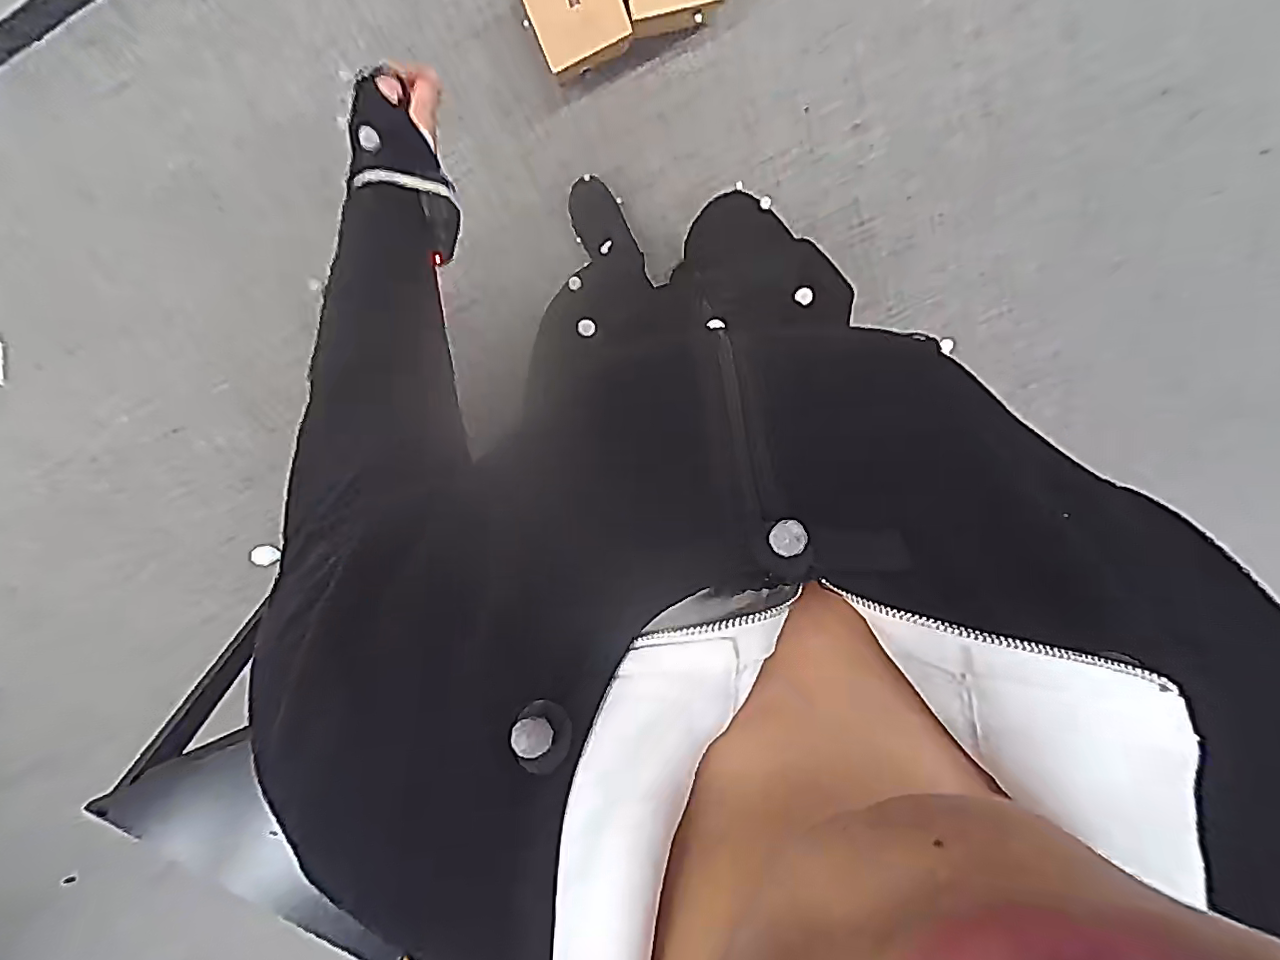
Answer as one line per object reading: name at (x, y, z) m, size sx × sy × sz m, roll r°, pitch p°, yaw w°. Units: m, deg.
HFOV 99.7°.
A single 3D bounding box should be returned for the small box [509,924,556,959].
small box at (-0.322, 1.255, 1.348) m, size 0.168 × 0.176 × 0.179 m, roll -26°, pitch 117°, yaw 9°
